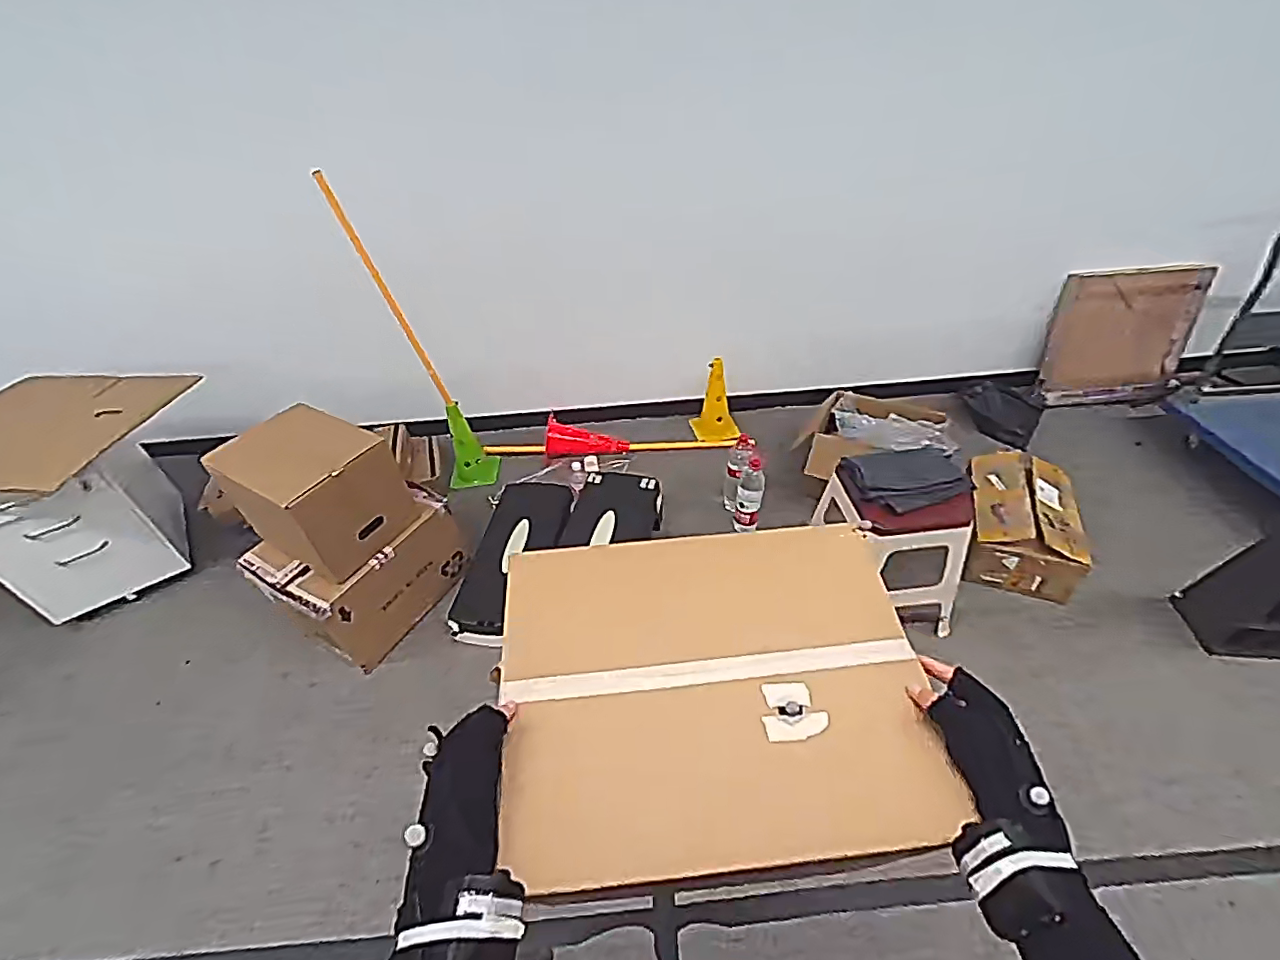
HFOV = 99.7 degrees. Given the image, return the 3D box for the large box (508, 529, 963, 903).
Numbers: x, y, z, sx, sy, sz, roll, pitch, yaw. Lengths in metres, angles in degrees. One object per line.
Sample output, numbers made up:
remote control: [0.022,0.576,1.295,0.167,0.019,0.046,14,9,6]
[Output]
large box: [0.069,0.291,0.662,0.408,0.320,0.320,-5,52,-4]
